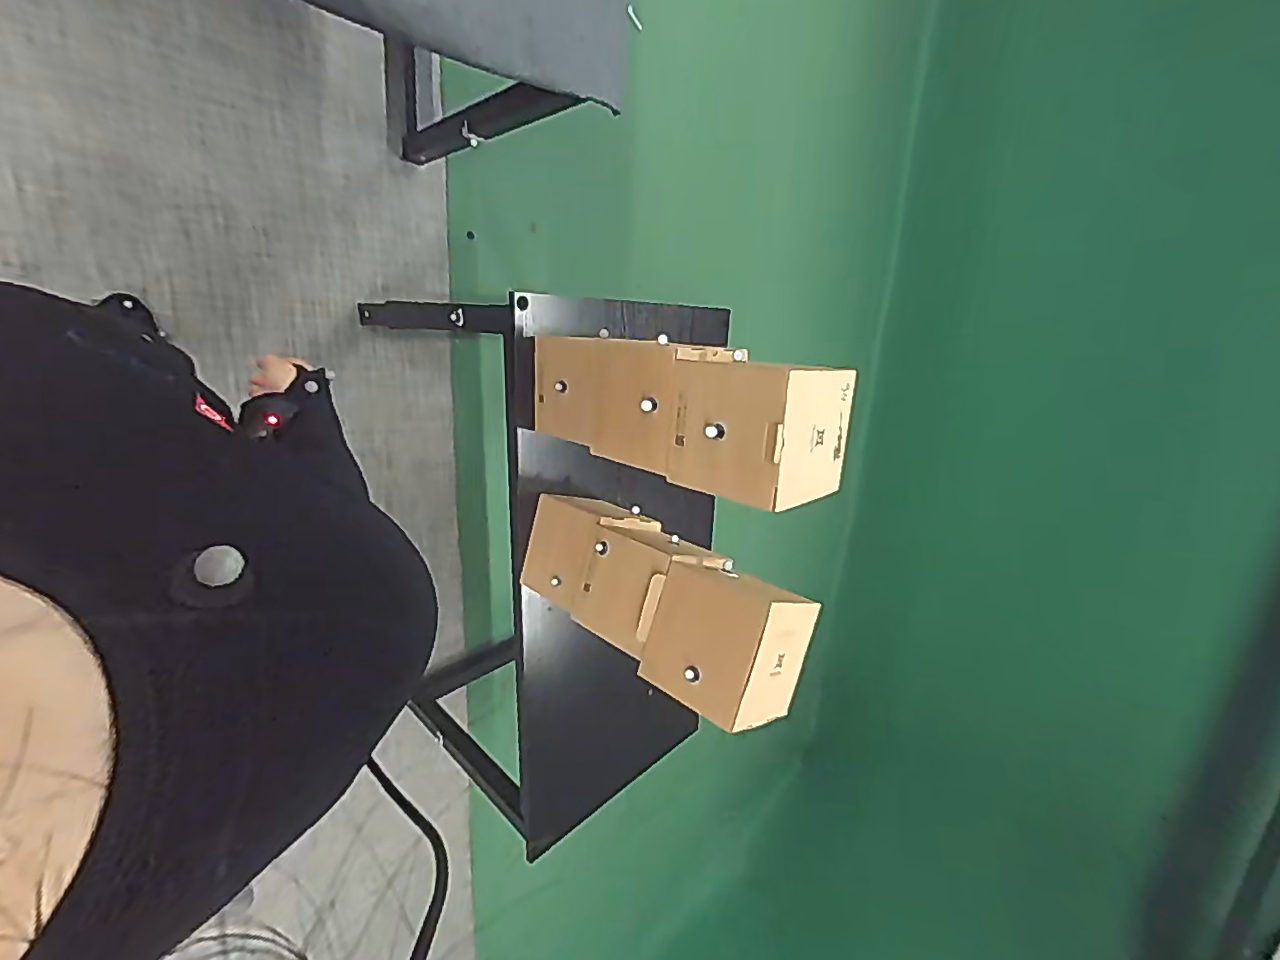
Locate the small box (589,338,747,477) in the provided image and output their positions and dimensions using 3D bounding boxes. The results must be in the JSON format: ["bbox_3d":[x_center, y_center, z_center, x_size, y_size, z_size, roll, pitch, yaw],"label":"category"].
[{"bbox_3d":[0.037,-0.116,0.817,0.168,0.176,0.179,-13,112,-44],"label":"small box"}]

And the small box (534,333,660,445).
[{"bbox_3d":[-0.068,-0.162,0.933,0.179,0.176,0.168,-13,114,-45],"label":"small box"}]

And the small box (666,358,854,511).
[{"bbox_3d":[0.152,-0.069,0.710,0.179,0.176,0.168,-11,110,-44],"label":"small box"}]

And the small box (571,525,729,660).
[{"bbox_3d":[0.014,0.179,0.893,0.179,0.176,0.168,13,94,-49],"label":"small box"}]

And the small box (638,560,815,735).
[{"bbox_3d":[0.120,0.230,0.780,0.168,0.176,0.179,16,91,-50],"label":"small box"}]
